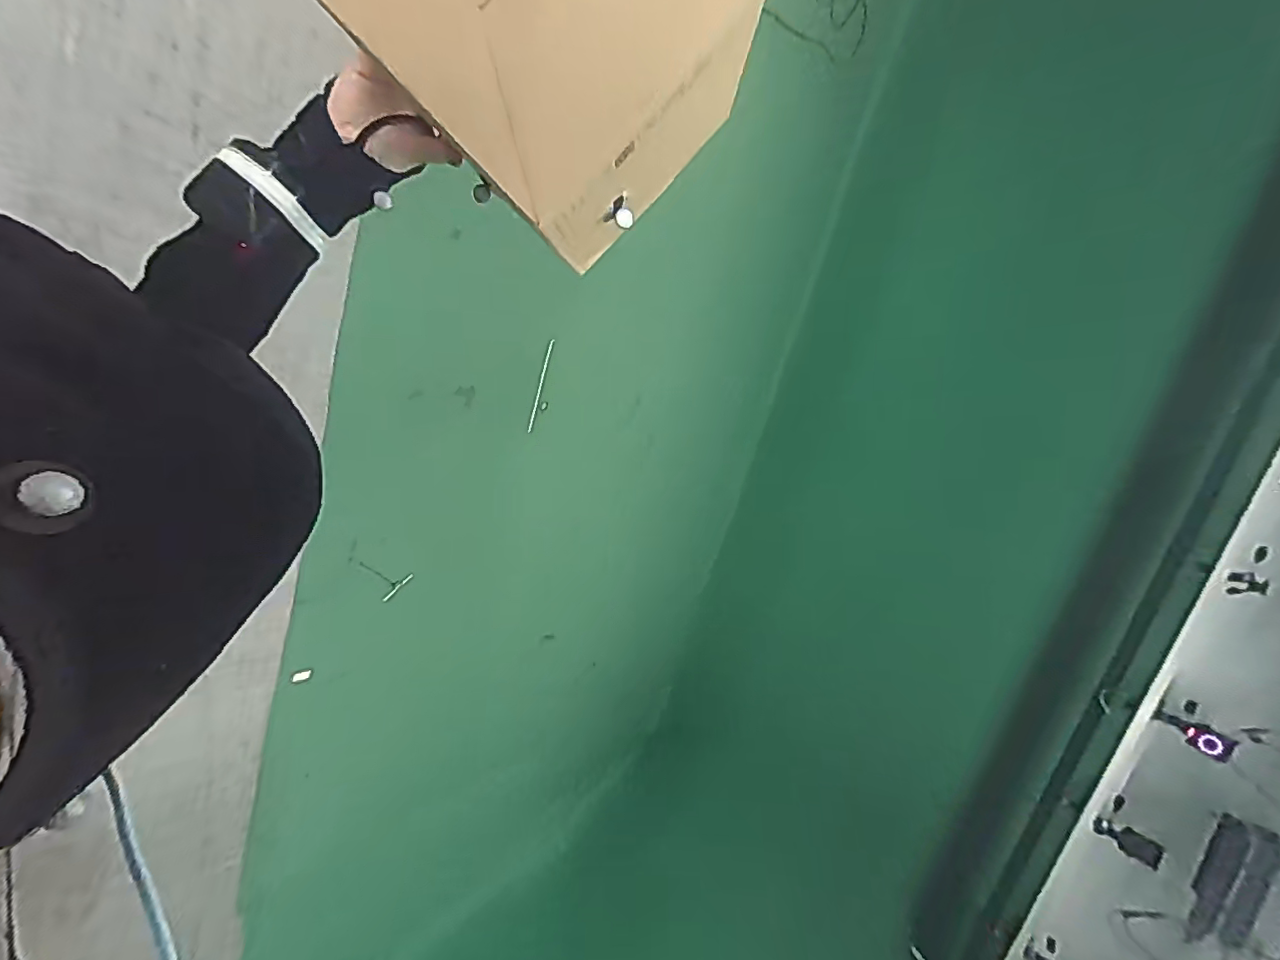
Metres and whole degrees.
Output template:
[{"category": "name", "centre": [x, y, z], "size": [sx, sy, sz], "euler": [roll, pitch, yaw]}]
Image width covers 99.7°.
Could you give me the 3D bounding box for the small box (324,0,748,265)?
[{"category": "small box", "centre": [-0.052, -0.264, 0.323], "size": [0.168, 0.179, 0.176], "euler": [-45, -173, 10]}]
